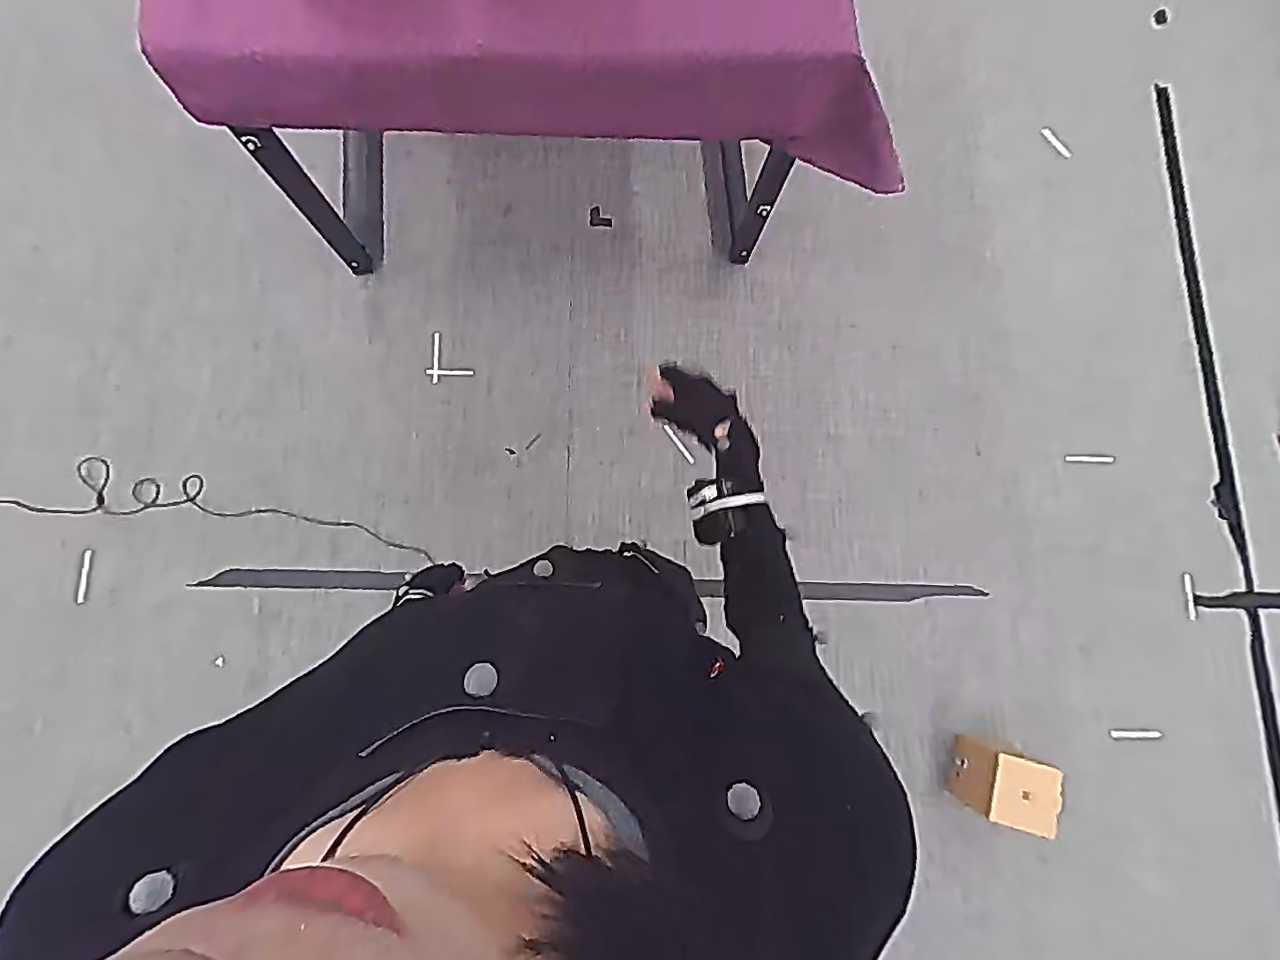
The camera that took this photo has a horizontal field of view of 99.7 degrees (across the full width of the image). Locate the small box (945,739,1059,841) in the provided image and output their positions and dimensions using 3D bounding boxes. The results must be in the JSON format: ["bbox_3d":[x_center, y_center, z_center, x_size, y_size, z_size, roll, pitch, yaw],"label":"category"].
[{"bbox_3d":[0.948,0.807,1.426,0.179,0.176,0.168,16,79,-1],"label":"small box"}]
